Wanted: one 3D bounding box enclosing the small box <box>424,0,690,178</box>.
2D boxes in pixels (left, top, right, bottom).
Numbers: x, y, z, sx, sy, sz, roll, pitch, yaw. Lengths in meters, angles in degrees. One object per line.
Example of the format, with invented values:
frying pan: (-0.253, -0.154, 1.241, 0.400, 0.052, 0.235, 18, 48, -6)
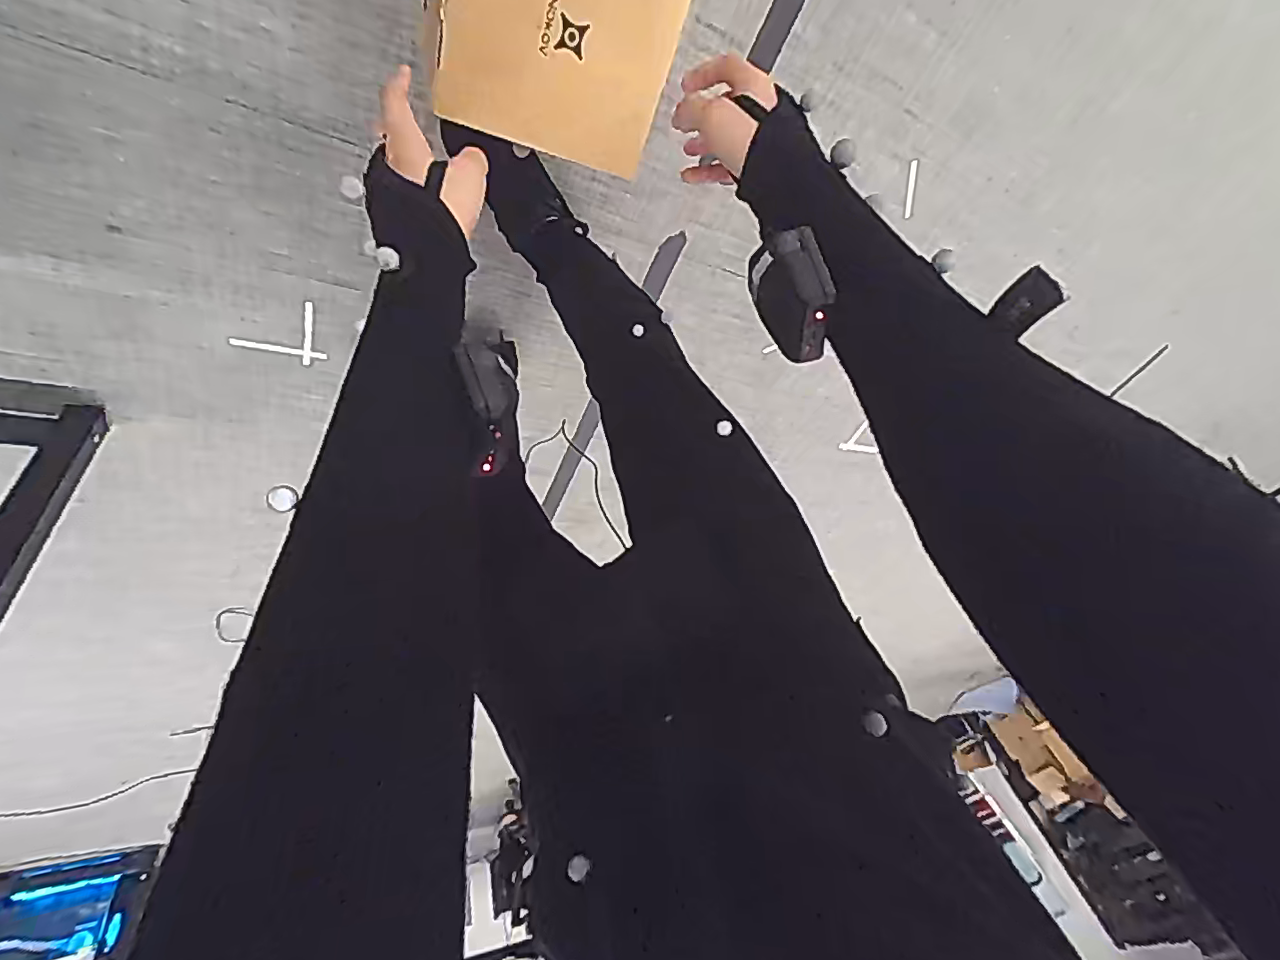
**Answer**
small box: (-0.080, -0.391, 0.455, 0.179, 0.176, 0.168, 3, 134, -26)
